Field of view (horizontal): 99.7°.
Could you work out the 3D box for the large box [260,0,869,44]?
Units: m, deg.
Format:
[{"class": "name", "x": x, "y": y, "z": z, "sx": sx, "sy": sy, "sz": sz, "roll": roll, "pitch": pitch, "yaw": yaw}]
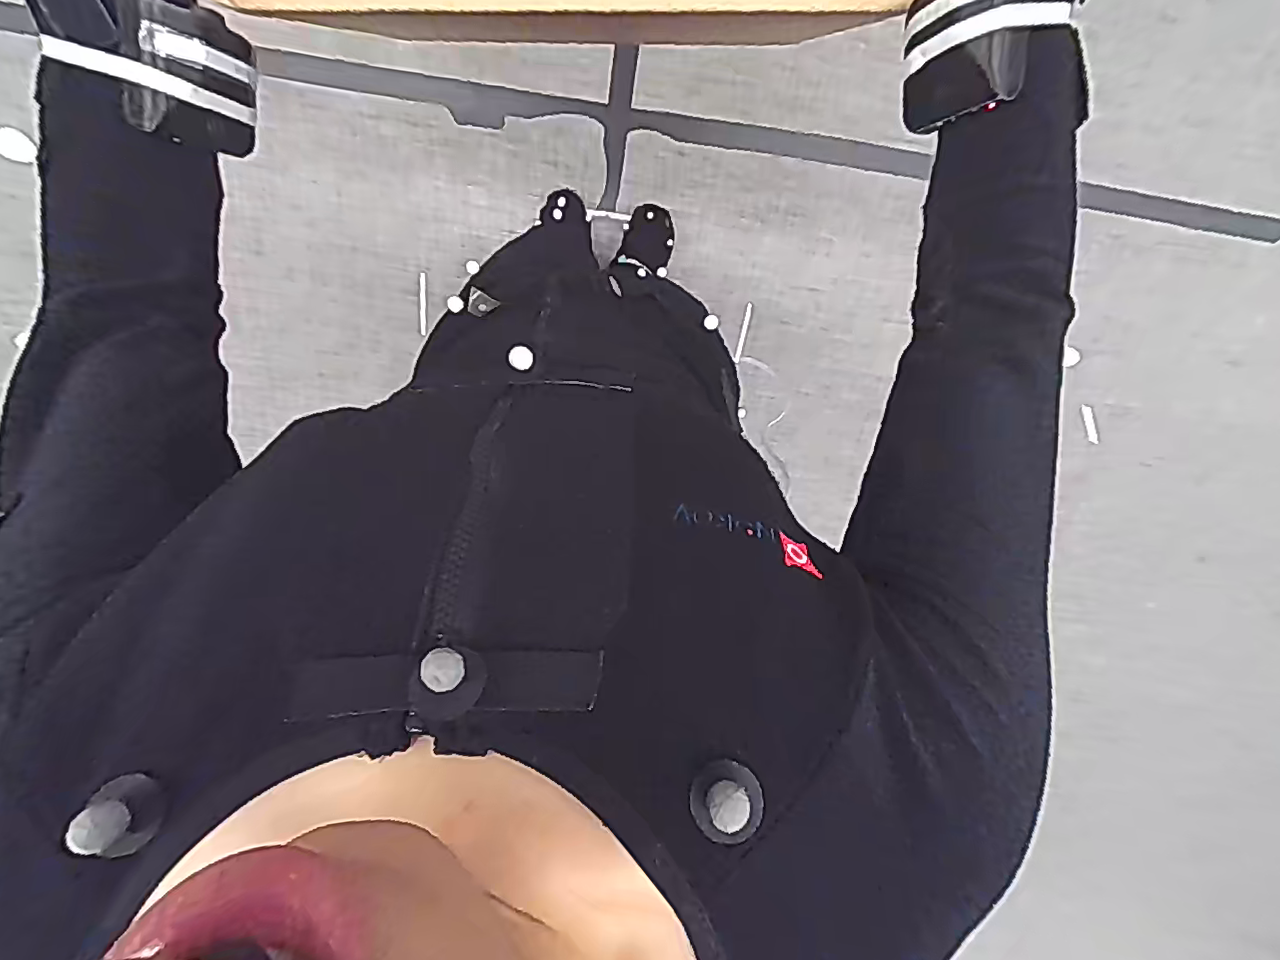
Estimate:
[{"class": "large box", "x": -0.037, "y": -0.492, "z": 0.346, "sx": 0.408, "sy": 0.320, "sz": 0.320, "roll": 0, "pitch": 127, "yaw": 0}]
